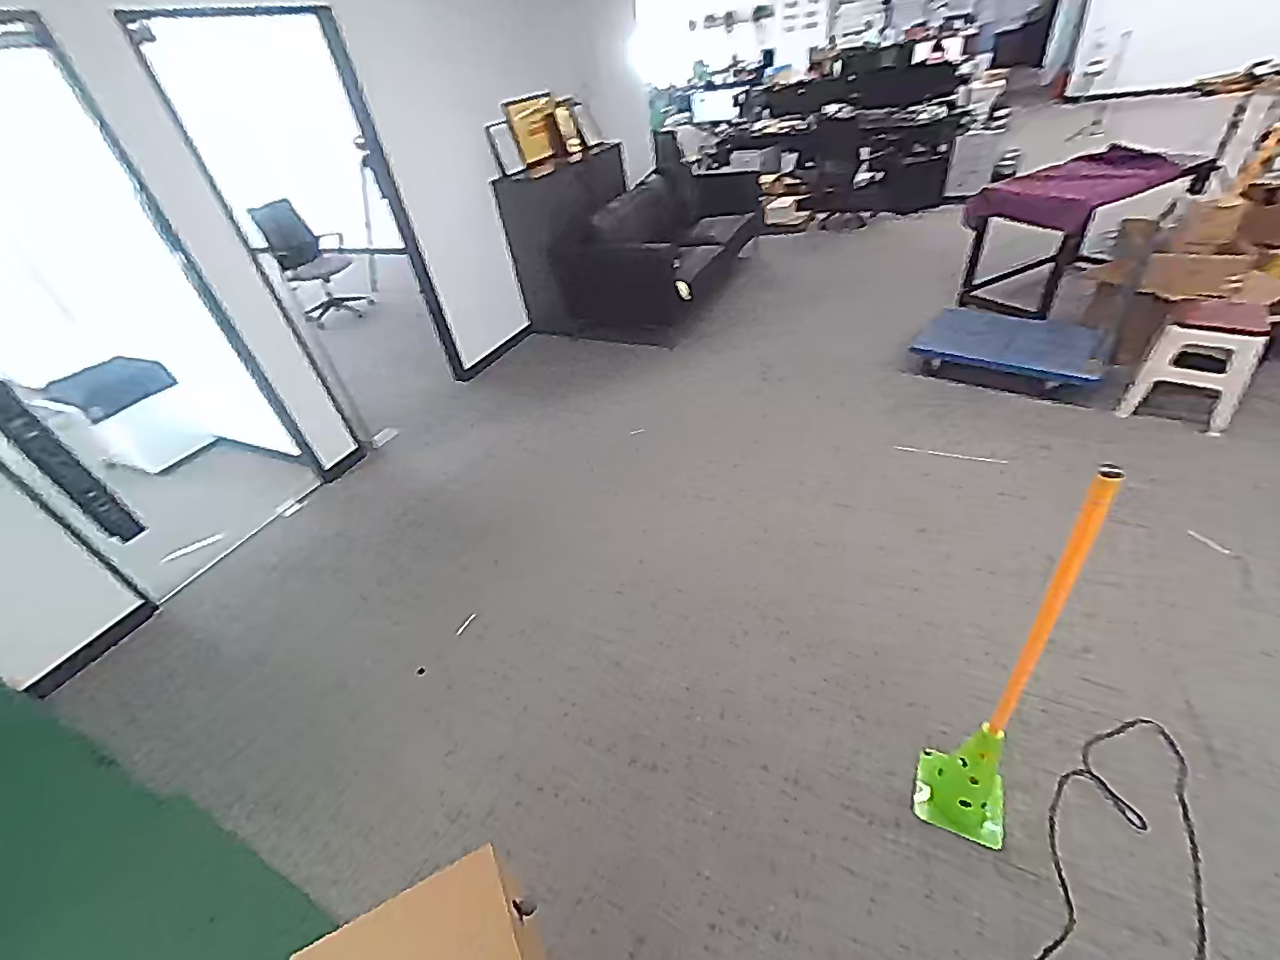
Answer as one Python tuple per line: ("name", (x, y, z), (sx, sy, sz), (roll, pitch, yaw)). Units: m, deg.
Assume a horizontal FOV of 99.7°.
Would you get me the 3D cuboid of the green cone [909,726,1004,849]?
("green cone", (0.820, 0.719, 1.344), (0.202, 0.368, 0.200), (13, 44, 24))
